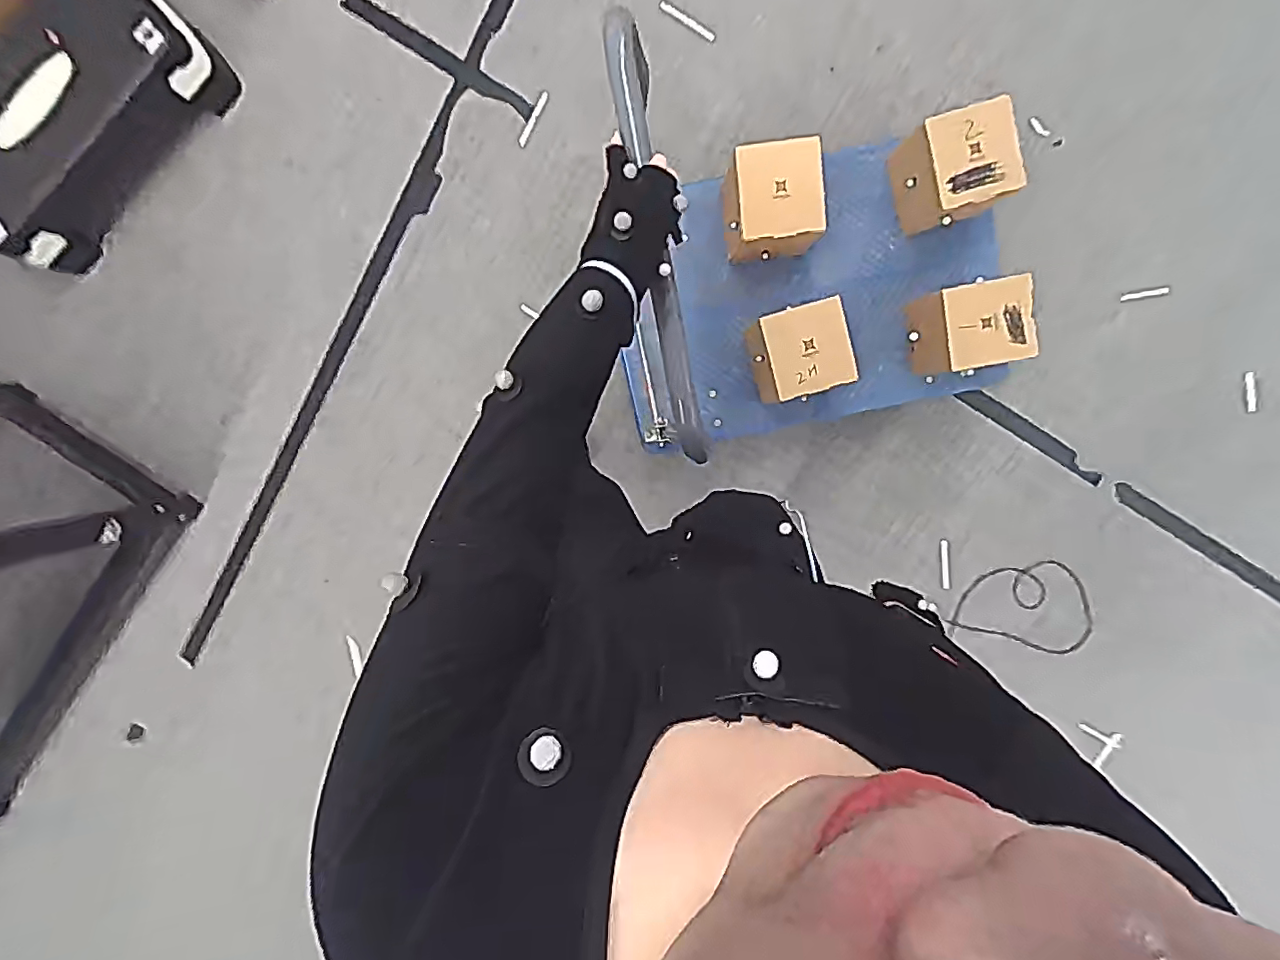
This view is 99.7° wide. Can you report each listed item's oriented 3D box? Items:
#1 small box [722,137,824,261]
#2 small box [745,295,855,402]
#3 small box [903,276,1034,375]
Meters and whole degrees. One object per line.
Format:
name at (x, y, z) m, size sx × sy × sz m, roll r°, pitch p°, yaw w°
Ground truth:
small box at (0.269, -0.573, 1.122) m, size 0.168 × 0.176 × 0.179 m, roll -7°, pitch 99°, yaw 0°
small box at (0.334, -0.273, 1.160) m, size 0.168 × 0.176 × 0.179 m, roll -15°, pitch 97°, yaw 2°
small box at (0.692, -0.322, 1.153) m, size 0.179 × 0.176 × 0.168 m, roll -10°, pitch 97°, yaw 2°
